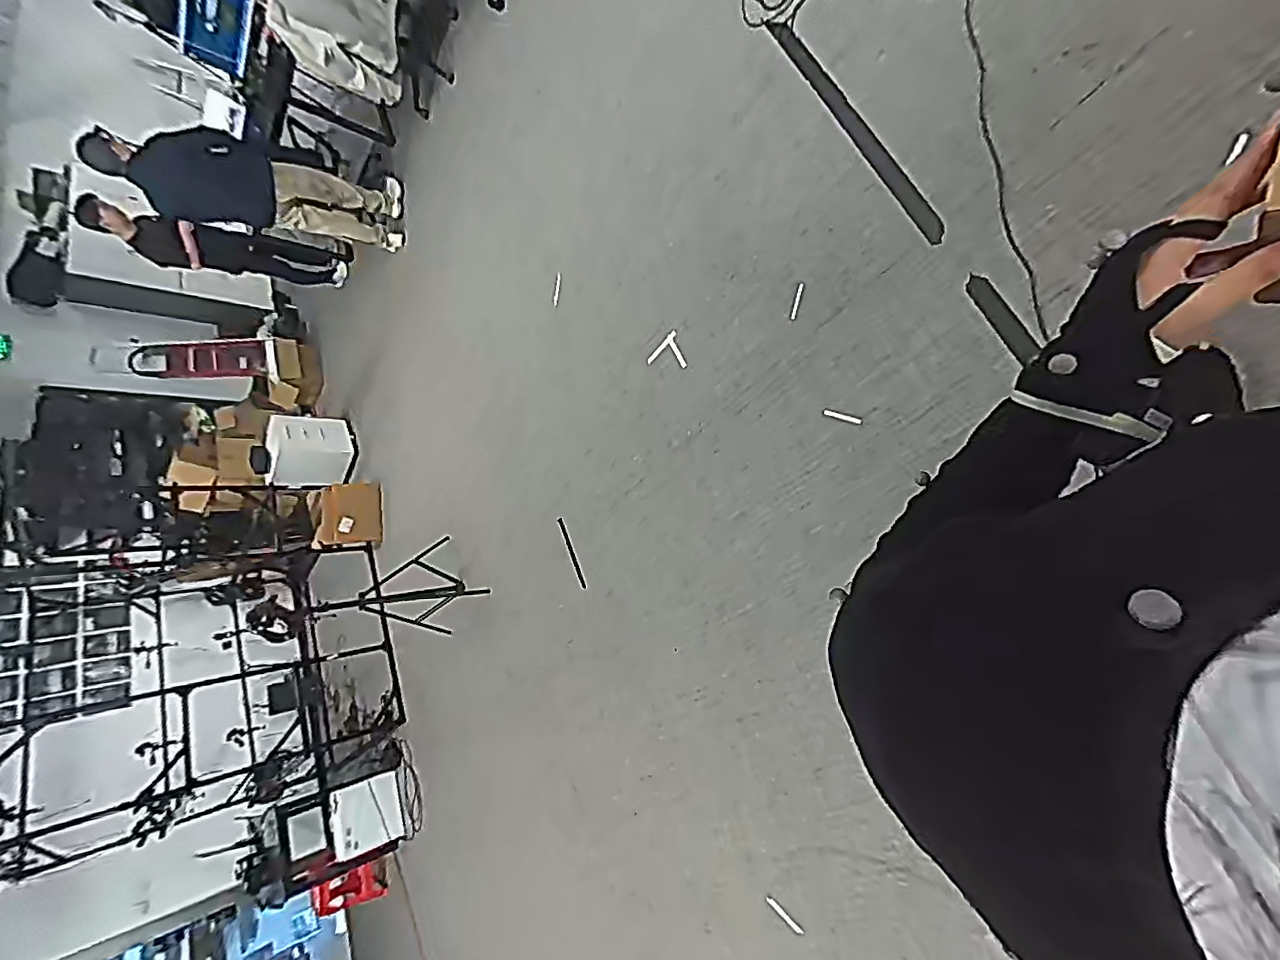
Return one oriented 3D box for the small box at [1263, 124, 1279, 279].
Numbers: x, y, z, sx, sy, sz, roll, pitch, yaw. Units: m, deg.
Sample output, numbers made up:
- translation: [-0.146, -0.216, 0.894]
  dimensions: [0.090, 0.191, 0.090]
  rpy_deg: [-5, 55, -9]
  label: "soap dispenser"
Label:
- translation: [0.463, -0.216, 0.278]
  dimensions: [0.168, 0.176, 0.179]
  rpy_deg: [16, 98, 49]
  label: "small box"
